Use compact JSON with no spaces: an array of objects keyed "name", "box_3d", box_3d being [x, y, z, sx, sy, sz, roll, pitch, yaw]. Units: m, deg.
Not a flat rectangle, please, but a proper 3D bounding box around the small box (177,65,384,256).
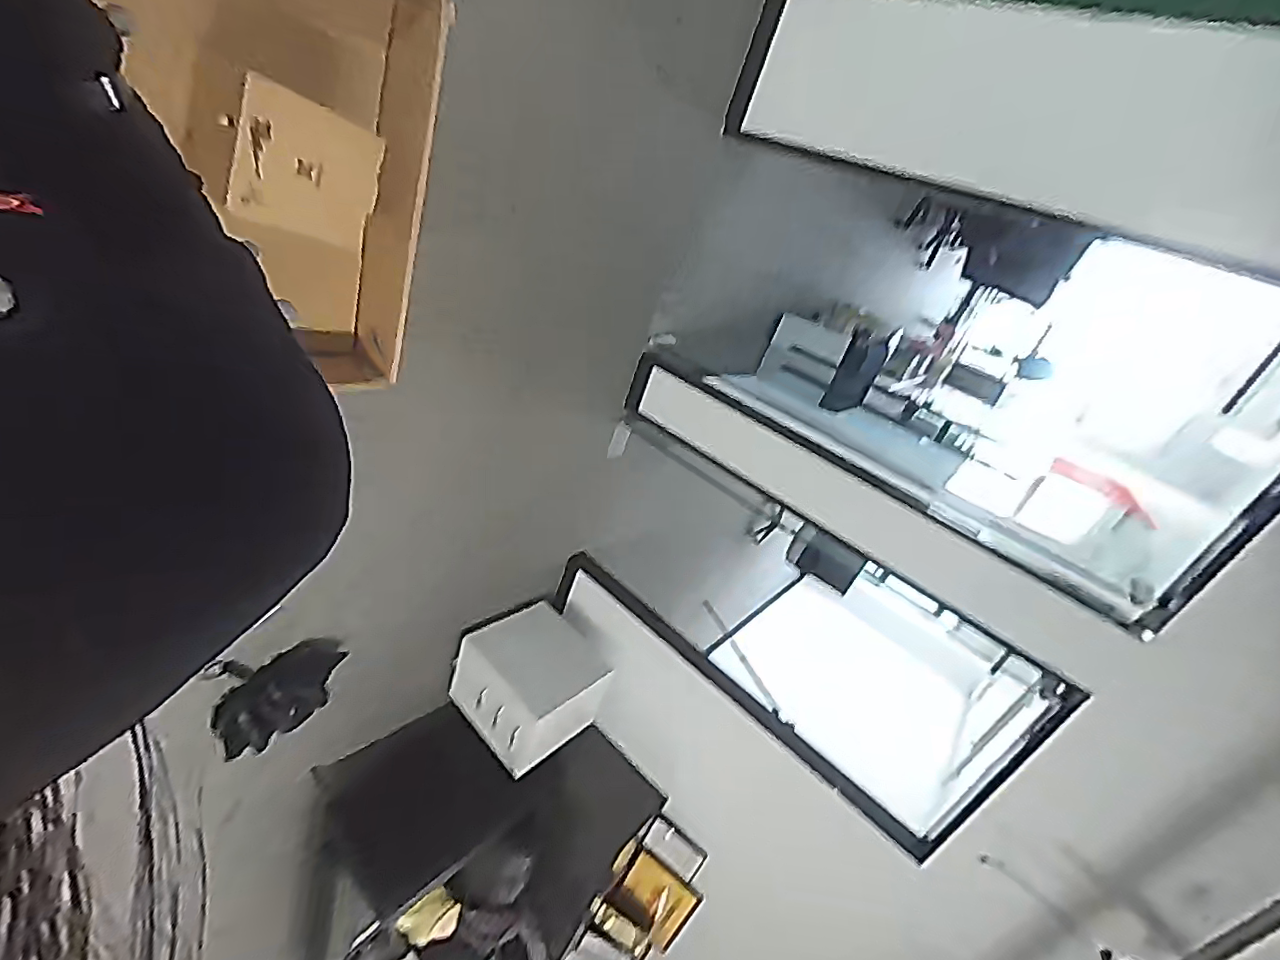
[{"name":"small box","box_3d":[-0.503,-0.444,0.761,0.179,0.176,0.168,-6,124,-58]}]
